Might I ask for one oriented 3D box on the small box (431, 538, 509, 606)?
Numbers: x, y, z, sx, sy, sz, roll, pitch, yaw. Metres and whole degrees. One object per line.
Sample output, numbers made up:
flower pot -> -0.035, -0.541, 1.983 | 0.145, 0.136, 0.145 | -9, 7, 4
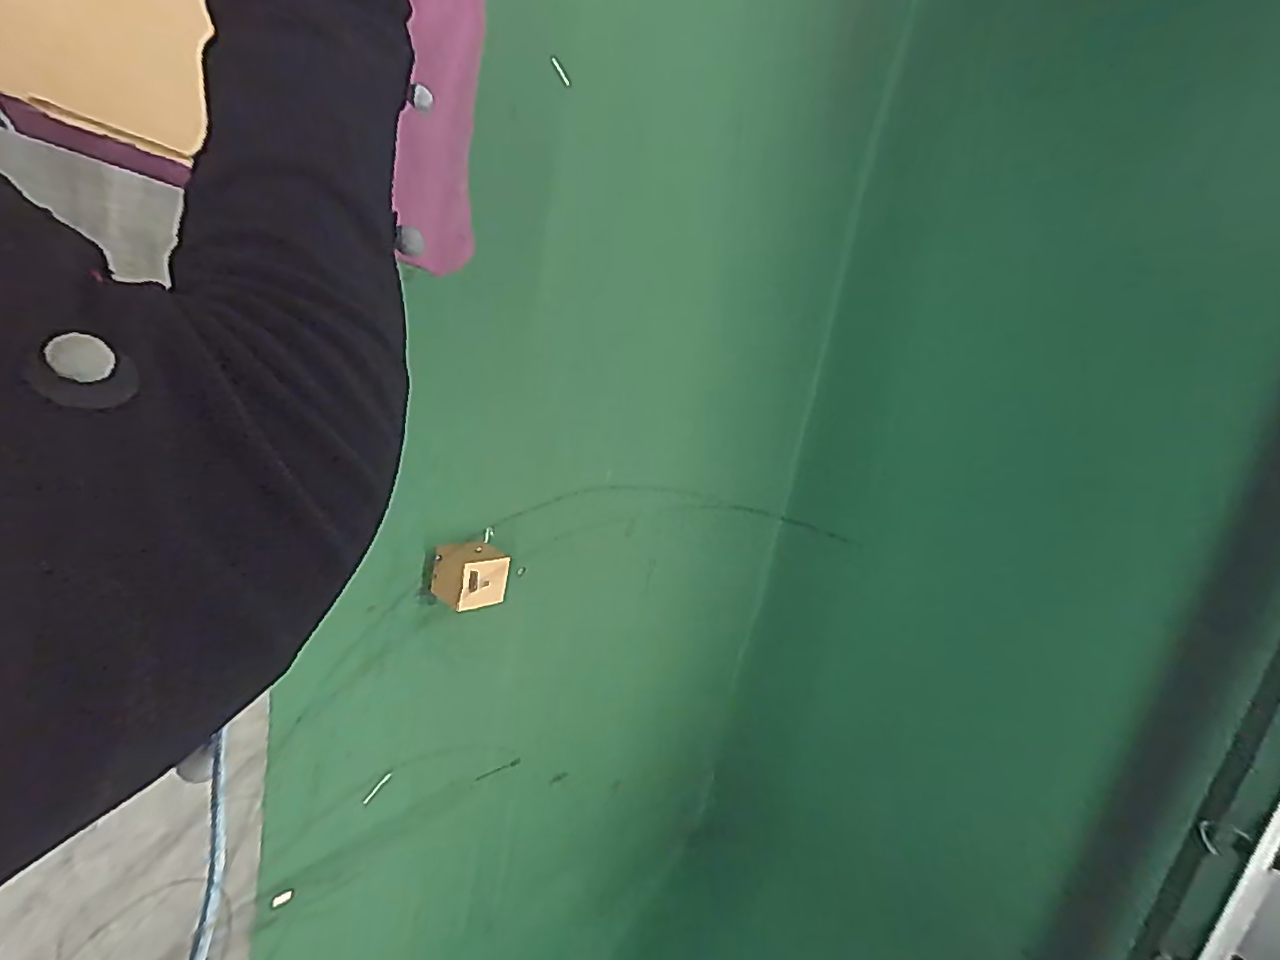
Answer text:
small box -> -0.570, 0.300, 1.802 | 0.179, 0.176, 0.168 | 0, 107, -52
